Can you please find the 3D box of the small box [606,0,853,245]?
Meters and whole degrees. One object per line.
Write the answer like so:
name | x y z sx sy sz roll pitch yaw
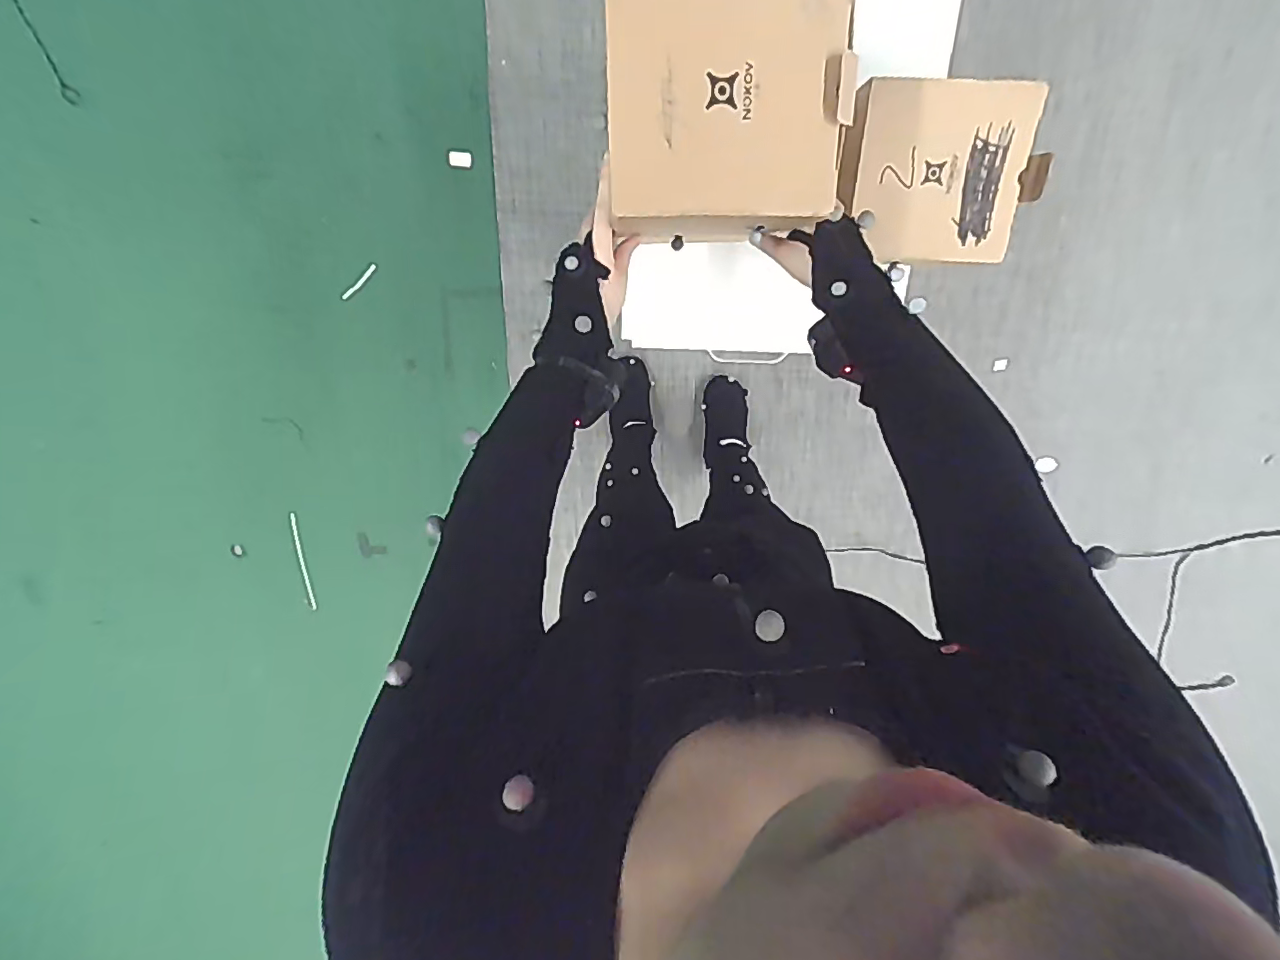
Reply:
small box | 0.061 -0.302 0.472 0.179 0.176 0.168 -2 109 -1
